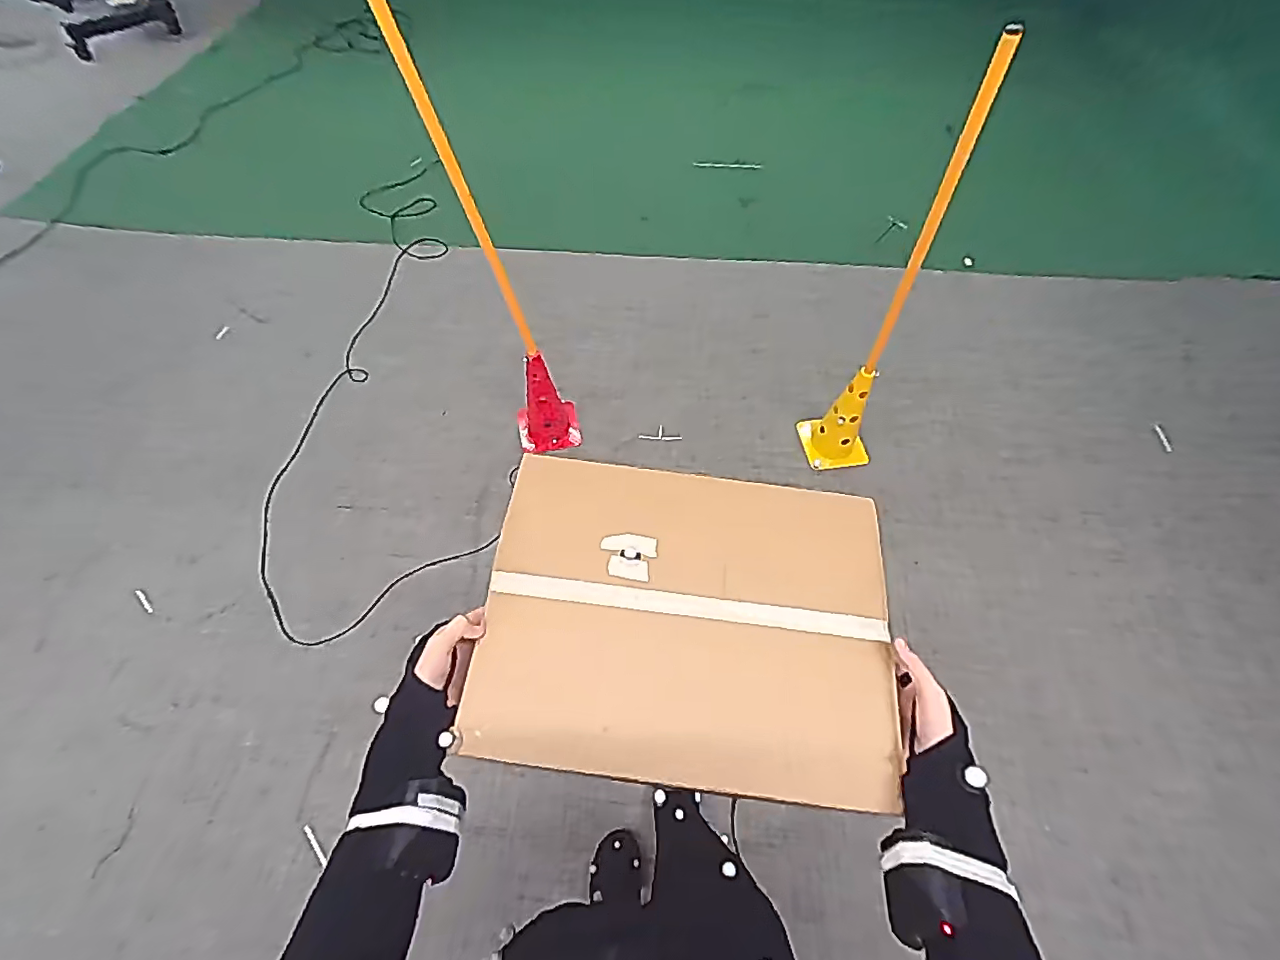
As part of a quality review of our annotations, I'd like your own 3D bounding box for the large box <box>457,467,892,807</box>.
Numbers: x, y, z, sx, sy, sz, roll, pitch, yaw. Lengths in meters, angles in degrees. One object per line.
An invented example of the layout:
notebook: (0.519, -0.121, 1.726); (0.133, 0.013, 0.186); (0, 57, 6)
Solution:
large box: (0.042, 0.208, 0.688); (0.408, 0.320, 0.320); (7, 60, 2)
